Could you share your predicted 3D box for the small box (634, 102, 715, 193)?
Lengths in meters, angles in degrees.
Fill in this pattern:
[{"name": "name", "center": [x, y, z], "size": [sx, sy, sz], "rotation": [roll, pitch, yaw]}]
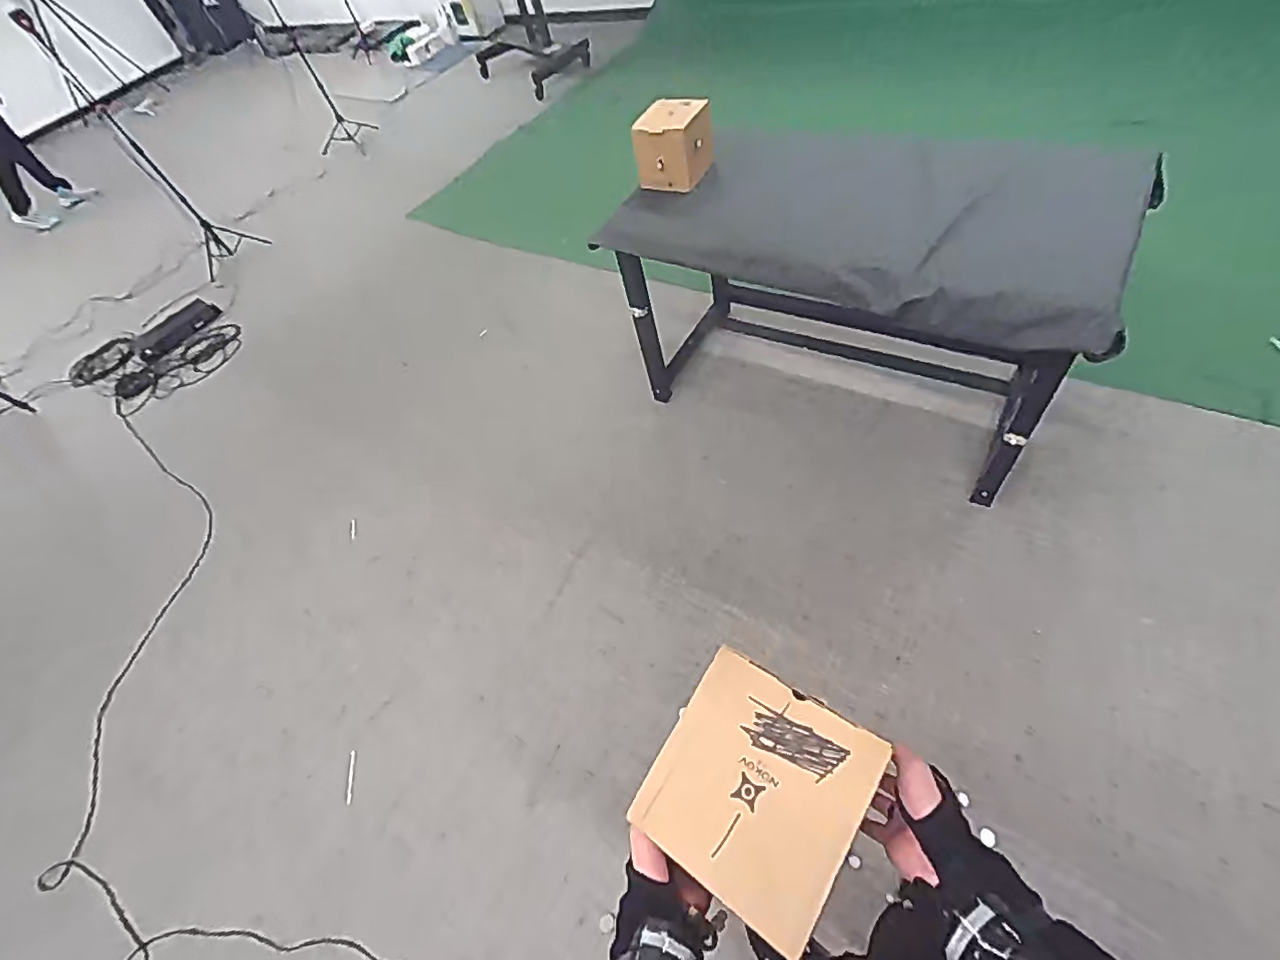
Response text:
[{"name": "small box", "center": [0.108, -0.956, 1.559], "size": [0.168, 0.176, 0.179], "rotation": [19, 63, 25]}]
